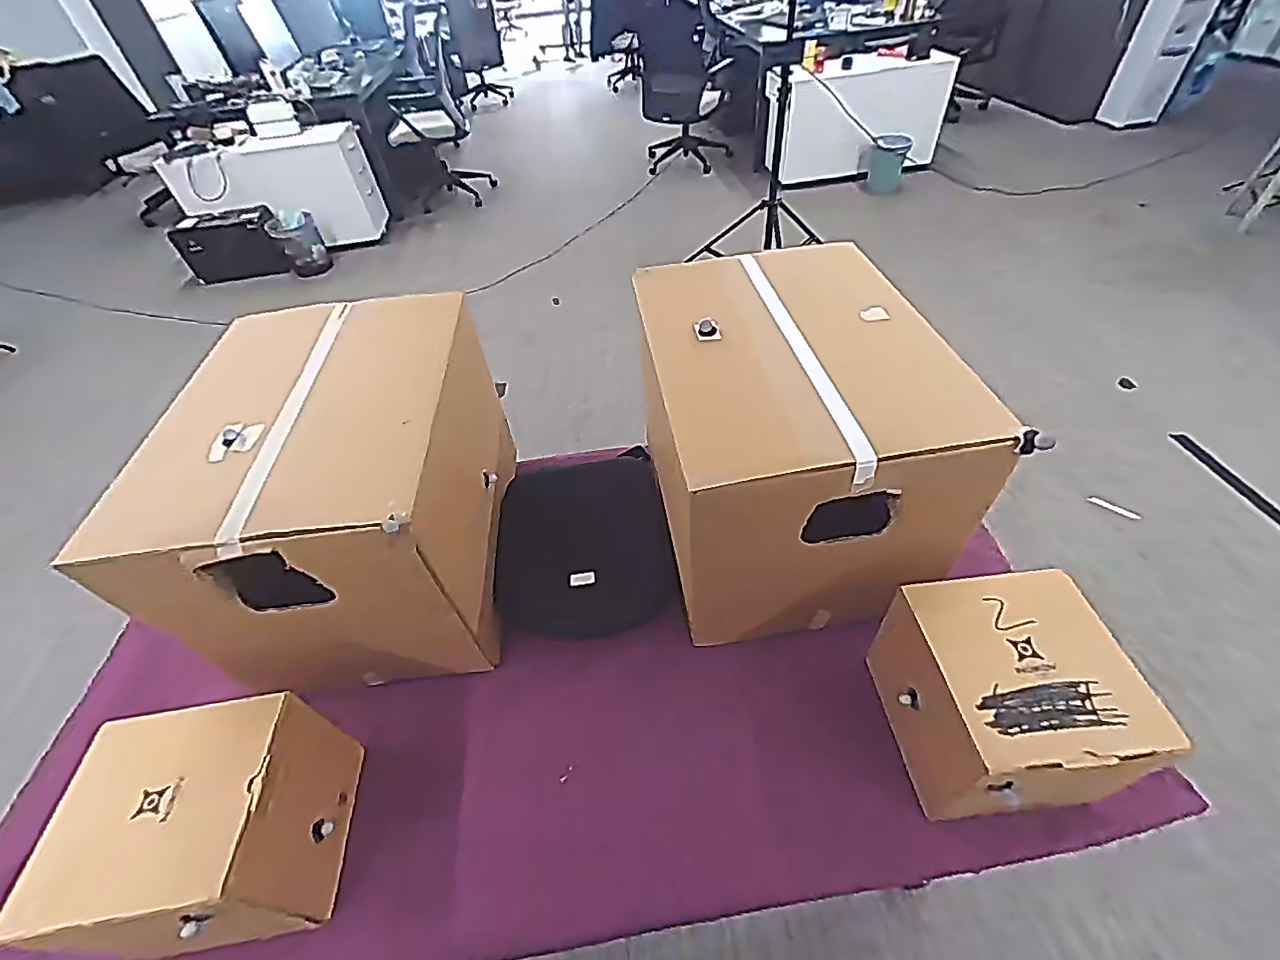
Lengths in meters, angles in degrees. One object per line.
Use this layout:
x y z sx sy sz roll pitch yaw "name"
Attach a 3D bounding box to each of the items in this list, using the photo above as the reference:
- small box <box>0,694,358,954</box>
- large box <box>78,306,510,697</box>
-0.414 0.337 0.529 0.179 0.176 0.168 -9 46 -3 "small box"
-0.366 0.023 0.724 0.320 0.320 0.408 -8 49 -1 "large box"
